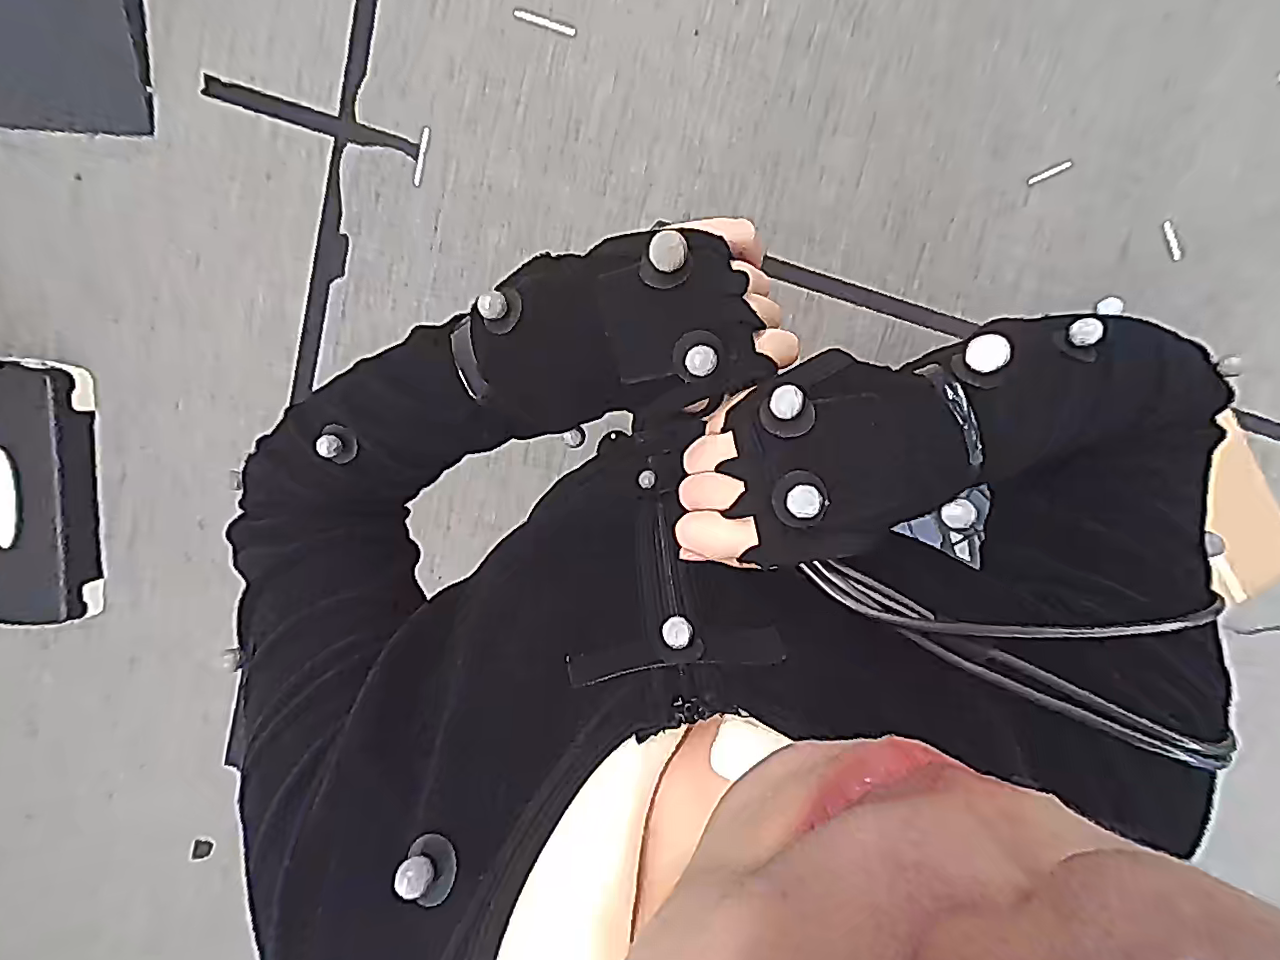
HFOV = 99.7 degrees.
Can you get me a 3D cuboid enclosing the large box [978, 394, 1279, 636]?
[{"bbox_3d":[1.074,0.057,1.218,0.320,0.320,0.408,-34,99,3],"label":"large box"}]
